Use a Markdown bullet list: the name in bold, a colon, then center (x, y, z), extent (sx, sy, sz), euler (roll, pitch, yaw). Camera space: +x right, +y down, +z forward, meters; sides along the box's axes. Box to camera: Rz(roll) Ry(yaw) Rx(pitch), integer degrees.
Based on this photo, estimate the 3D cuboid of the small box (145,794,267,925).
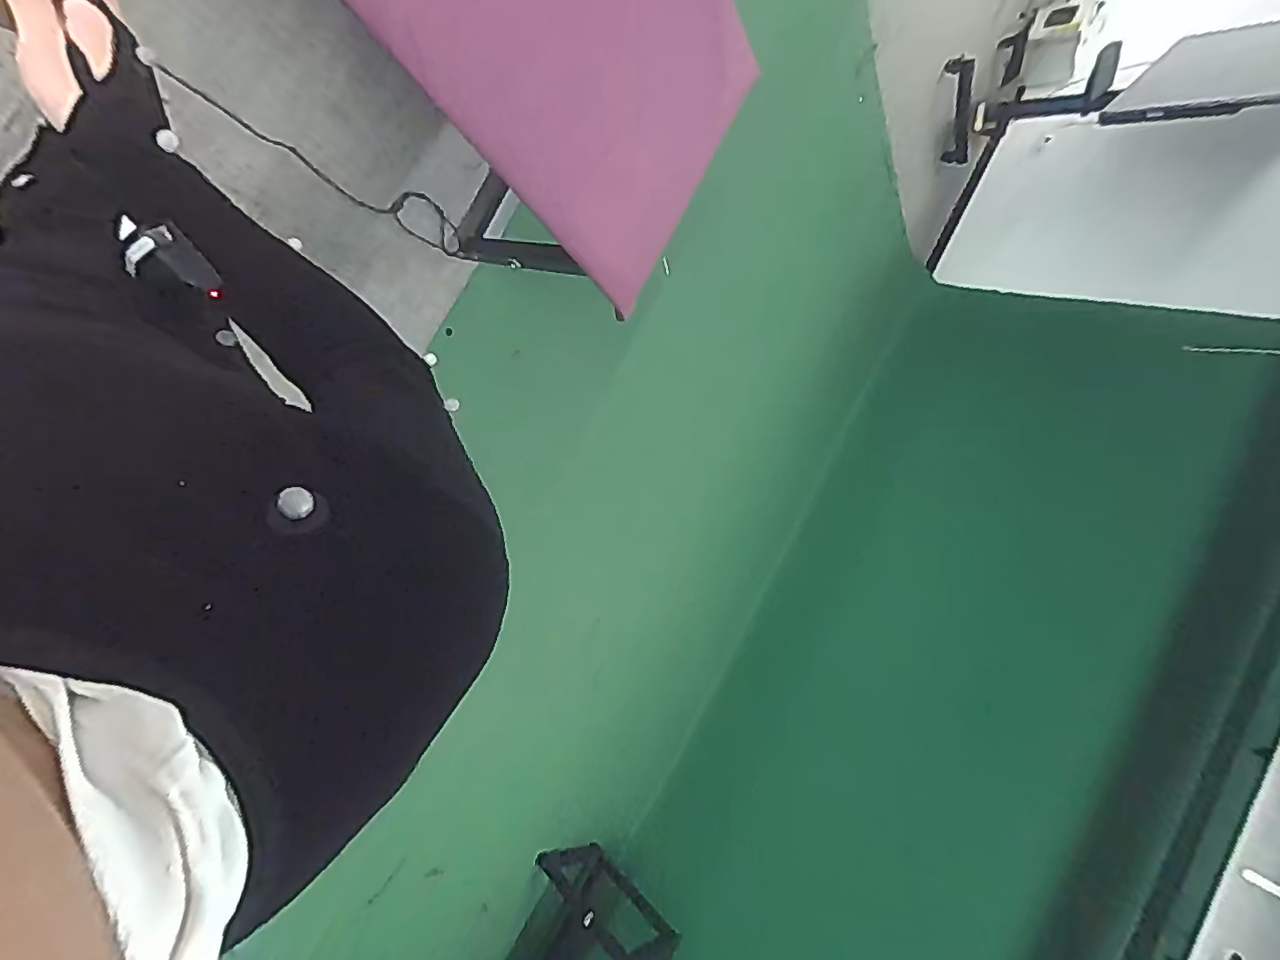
- **small box**: center (-1.050, 0.911, 1.312), extent (0.168, 0.176, 0.179), euler (-34, 131, -31)
